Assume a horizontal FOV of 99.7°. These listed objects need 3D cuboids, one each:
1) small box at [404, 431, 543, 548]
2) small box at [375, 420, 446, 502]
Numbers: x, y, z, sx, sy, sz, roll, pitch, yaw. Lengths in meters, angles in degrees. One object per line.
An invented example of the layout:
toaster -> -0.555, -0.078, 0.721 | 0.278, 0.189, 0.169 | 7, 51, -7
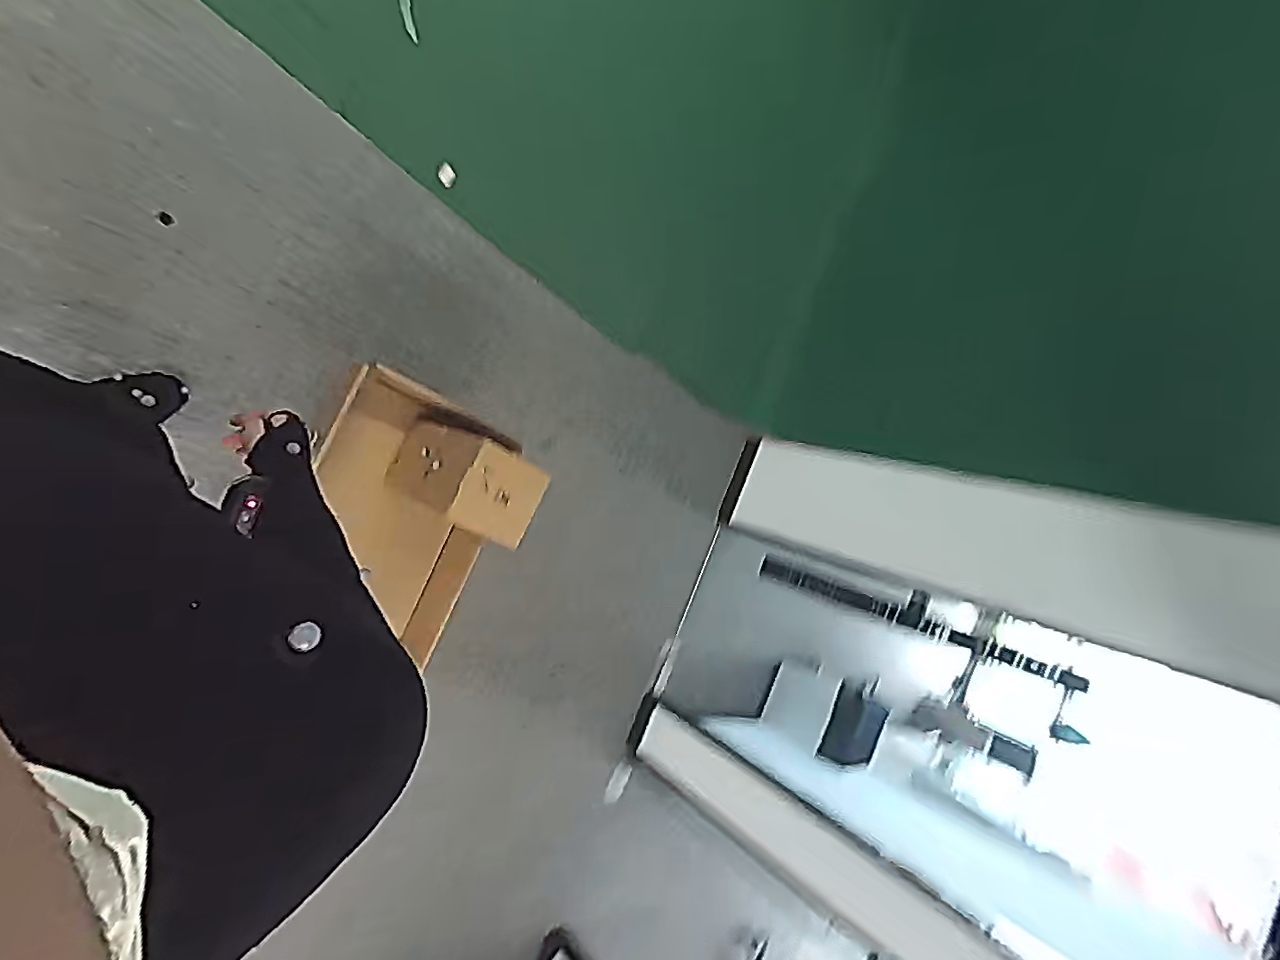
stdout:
small box -> -0.339, 0.014, 1.102 | 0.179, 0.176, 0.168 | 37, 75, -45
small box -> -0.453, -0.021, 1.215 | 0.179, 0.176, 0.168 | 33, 78, -46
